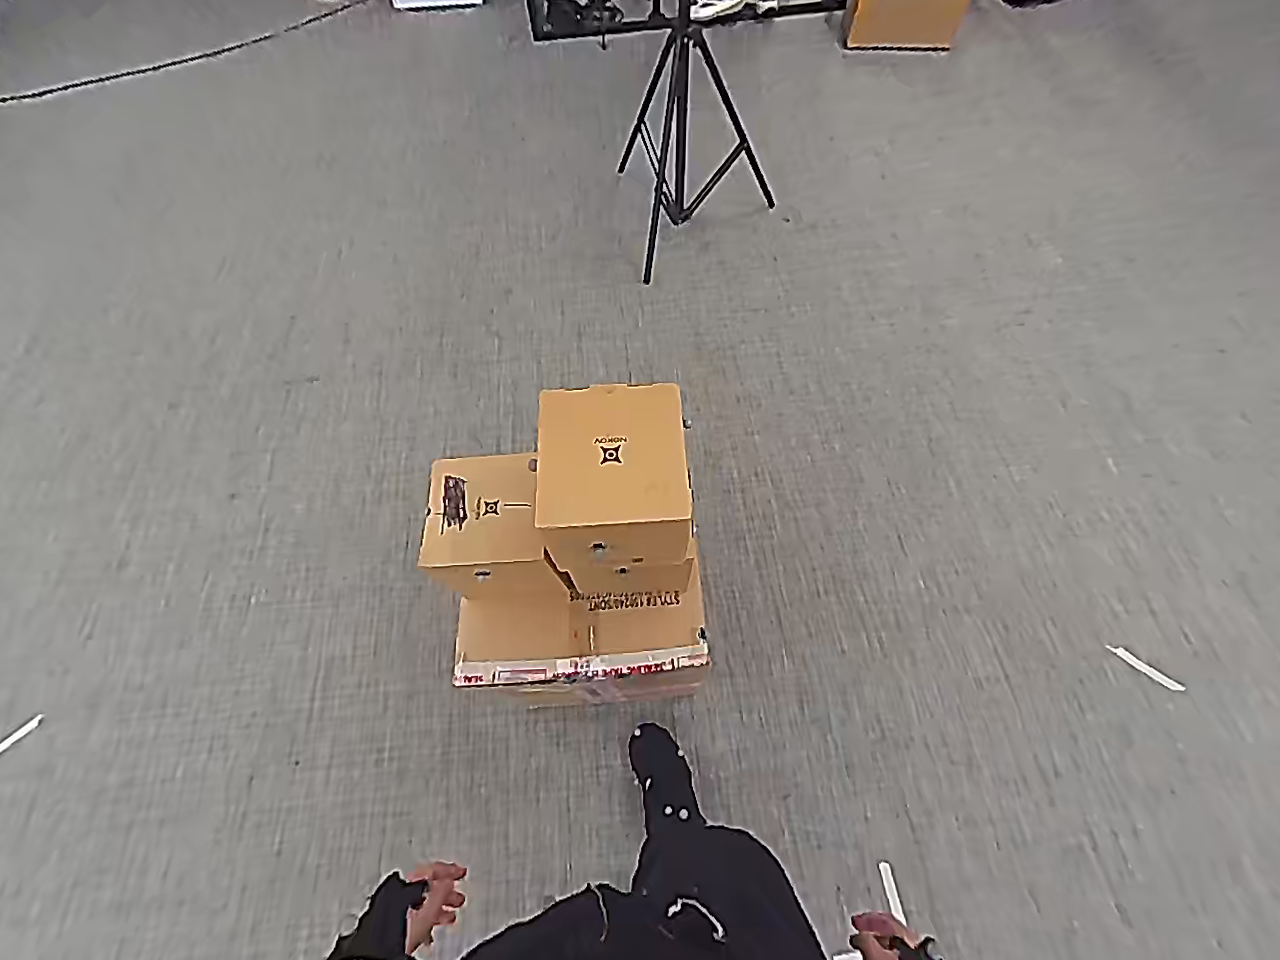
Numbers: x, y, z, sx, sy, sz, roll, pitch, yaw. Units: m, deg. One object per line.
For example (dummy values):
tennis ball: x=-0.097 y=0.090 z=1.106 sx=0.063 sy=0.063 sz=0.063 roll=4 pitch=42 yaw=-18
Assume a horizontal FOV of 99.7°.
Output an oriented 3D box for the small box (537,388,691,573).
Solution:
small box: x=-0.027 y=0.011 z=0.668 sx=0.168 sy=0.176 sz=0.179 roll=-4 pitch=63 yaw=0
